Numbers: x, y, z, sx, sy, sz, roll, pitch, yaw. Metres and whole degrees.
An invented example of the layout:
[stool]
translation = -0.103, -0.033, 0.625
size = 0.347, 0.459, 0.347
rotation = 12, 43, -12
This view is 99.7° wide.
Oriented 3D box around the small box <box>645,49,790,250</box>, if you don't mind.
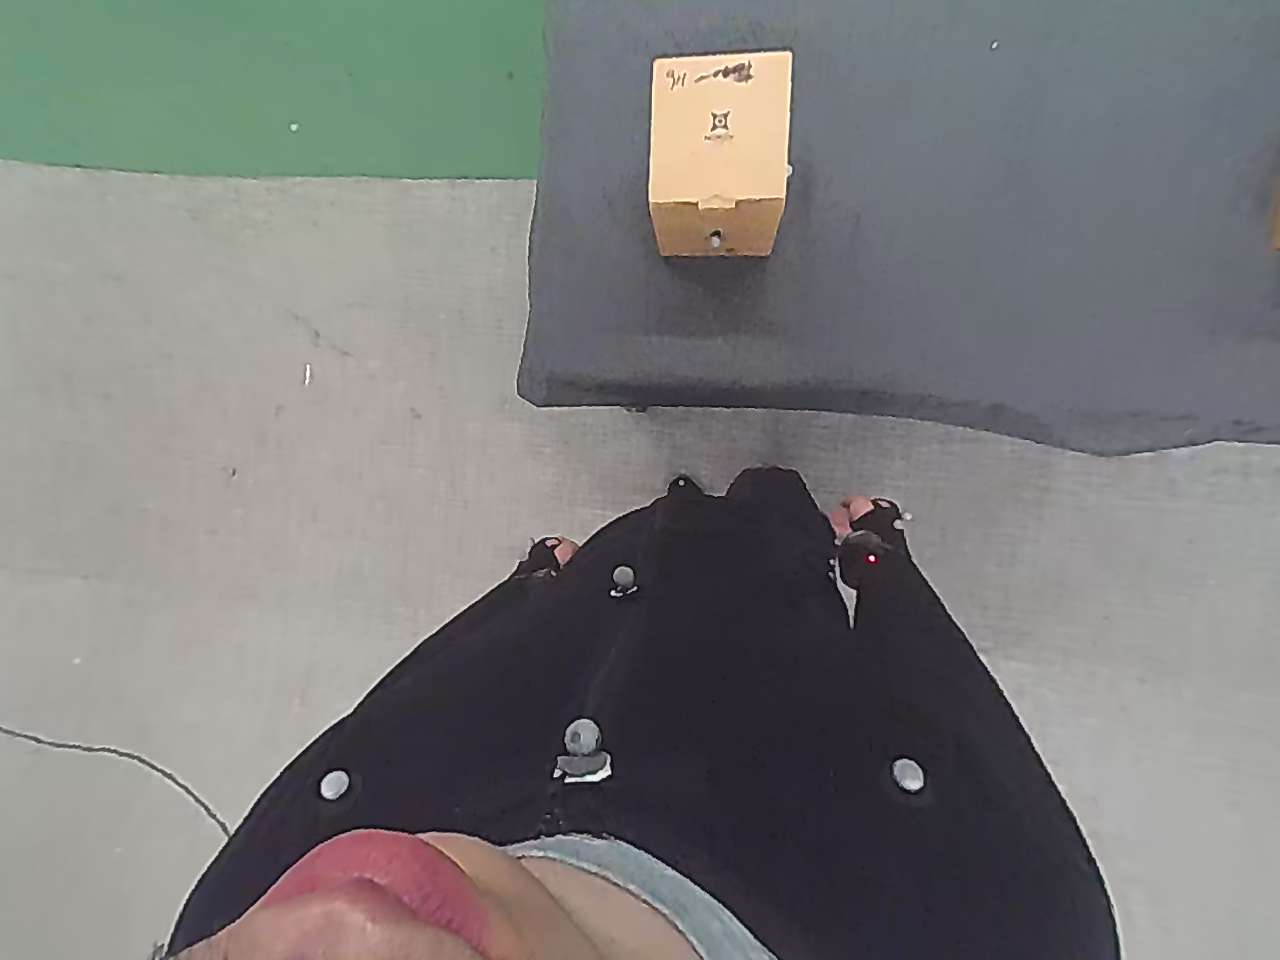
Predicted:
[small box]
translation = 0.101, -0.421, 0.721
size = 0.168, 0.176, 0.179
rotation = 2, 92, 7
